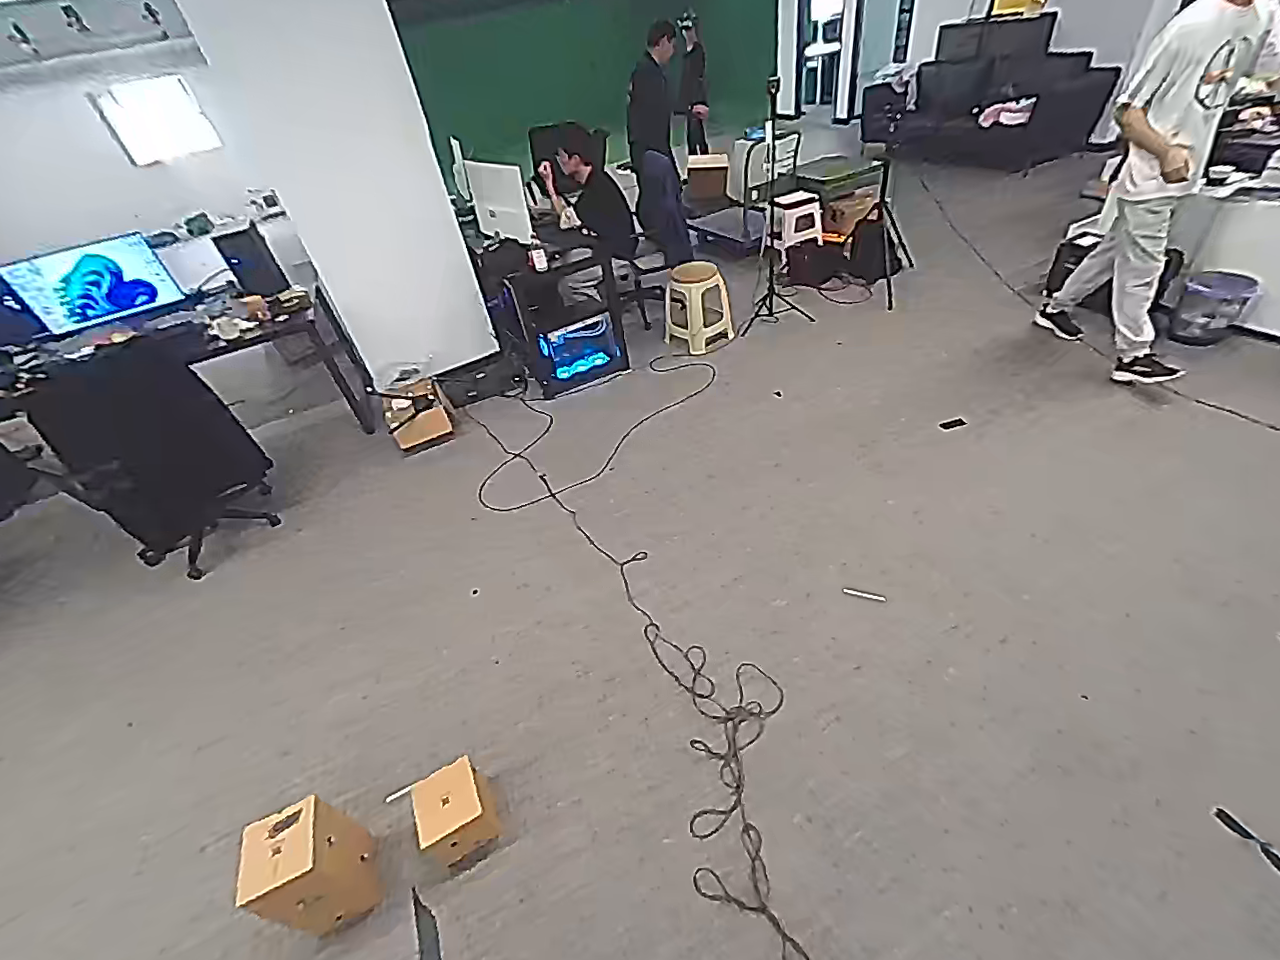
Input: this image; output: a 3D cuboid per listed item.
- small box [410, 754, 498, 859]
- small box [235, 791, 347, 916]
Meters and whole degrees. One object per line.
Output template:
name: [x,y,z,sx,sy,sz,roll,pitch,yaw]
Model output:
small box: [-0.511,0.908,1.493,0.168,0.176,0.179,-25,42,-16]
small box: [-0.832,0.905,1.309,0.168,0.176,0.179,-22,42,-13]
